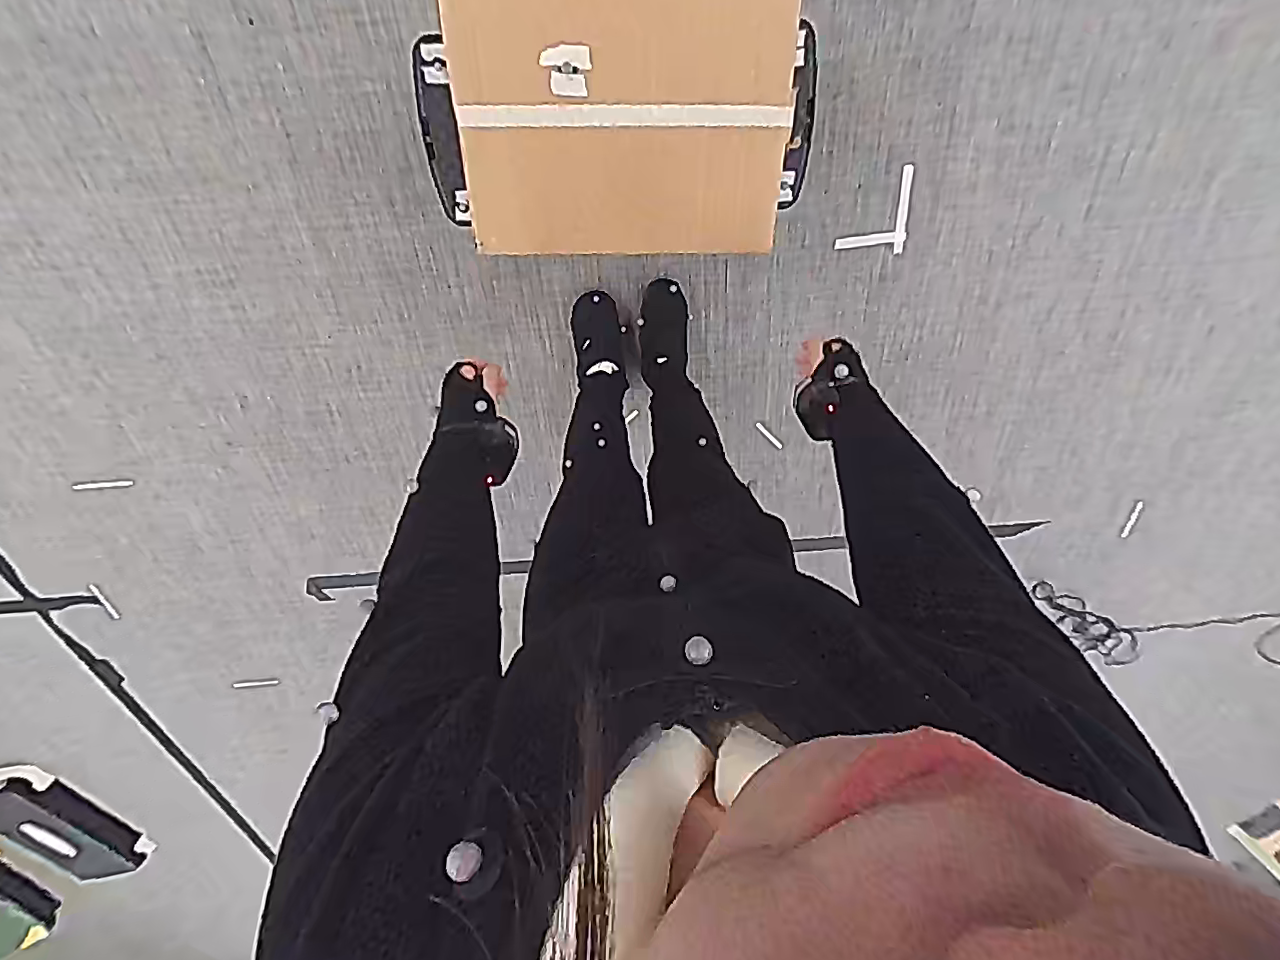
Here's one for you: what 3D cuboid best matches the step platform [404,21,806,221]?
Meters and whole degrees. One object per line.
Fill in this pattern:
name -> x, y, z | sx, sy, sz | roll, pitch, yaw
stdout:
step platform -> -0.056, -0.626, 0.983 | 0.684, 0.204, 0.286 | 1, 122, -3

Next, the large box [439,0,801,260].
large box -> -0.023, -0.511, 0.775 | 0.408, 0.320, 0.320 | -1, 121, -2
